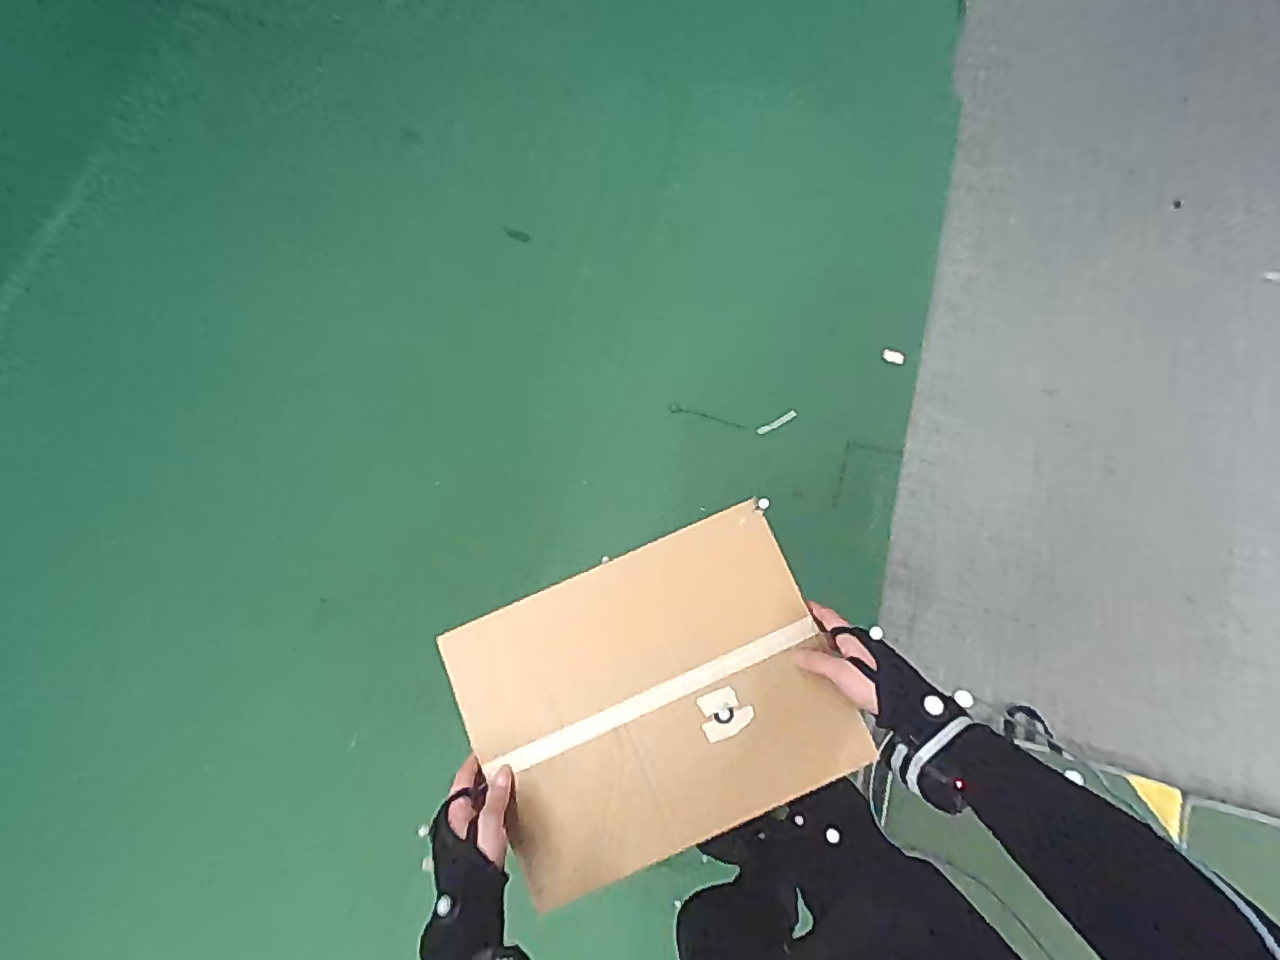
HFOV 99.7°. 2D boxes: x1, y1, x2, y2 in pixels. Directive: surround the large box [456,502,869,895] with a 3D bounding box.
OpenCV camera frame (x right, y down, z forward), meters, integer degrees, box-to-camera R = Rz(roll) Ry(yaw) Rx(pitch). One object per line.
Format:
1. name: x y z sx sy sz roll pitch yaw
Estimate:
1. large box: 0.023 0.267 0.768 0.408 0.320 0.320 -23 81 -2
